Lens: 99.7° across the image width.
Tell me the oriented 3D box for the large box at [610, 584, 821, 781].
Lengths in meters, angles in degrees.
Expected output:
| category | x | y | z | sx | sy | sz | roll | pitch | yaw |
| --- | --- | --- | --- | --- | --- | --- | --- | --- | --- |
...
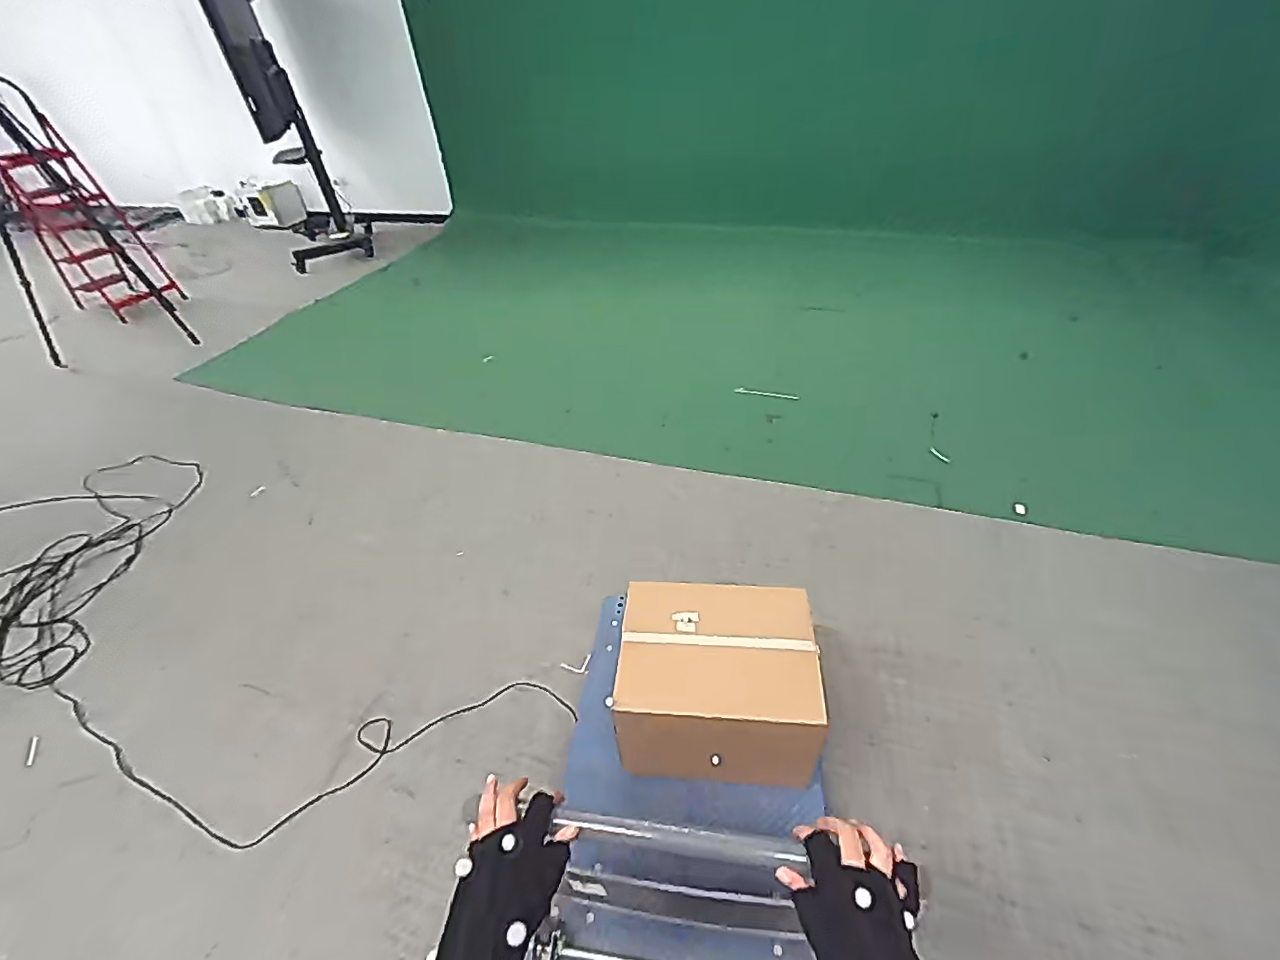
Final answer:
| category | x | y | z | sx | sy | sz | roll | pitch | yaw |
| --- | --- | --- | --- | --- | --- | --- | --- | --- | --- |
| large box | 0.166 | 0.455 | 1.225 | 0.408 | 0.320 | 0.320 | 0 | 40 | 8 |
